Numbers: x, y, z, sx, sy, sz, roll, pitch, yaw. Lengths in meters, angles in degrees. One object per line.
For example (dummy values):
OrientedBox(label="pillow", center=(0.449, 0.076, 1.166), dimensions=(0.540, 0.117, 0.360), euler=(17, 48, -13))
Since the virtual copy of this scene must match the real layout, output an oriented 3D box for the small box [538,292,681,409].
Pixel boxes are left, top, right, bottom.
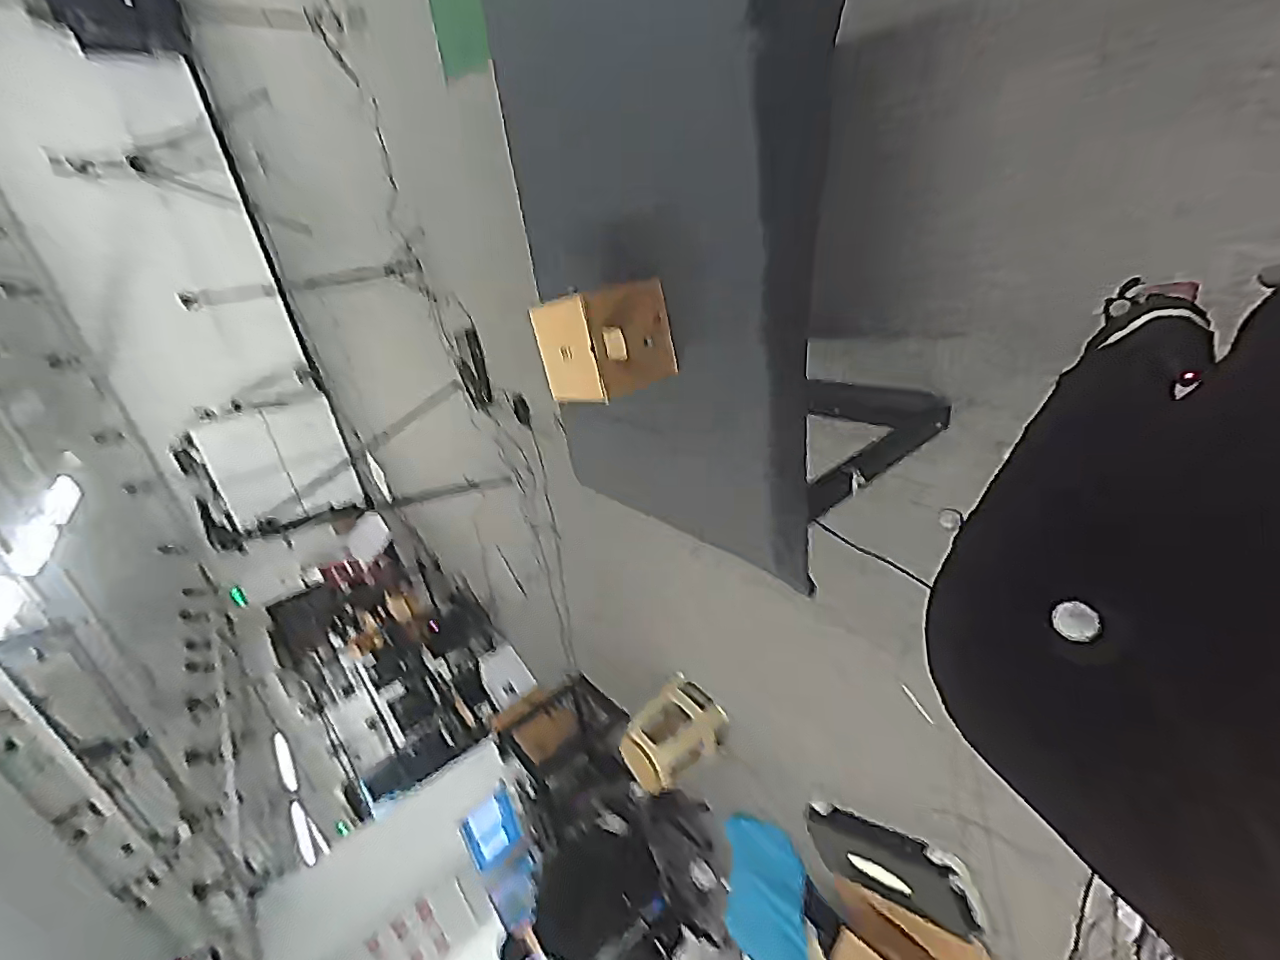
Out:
OrientedBox(label="small box", center=(-0.053, -0.229, 0.966), dimensions=(0.179, 0.176, 0.168), euler=(9, 118, 52))
